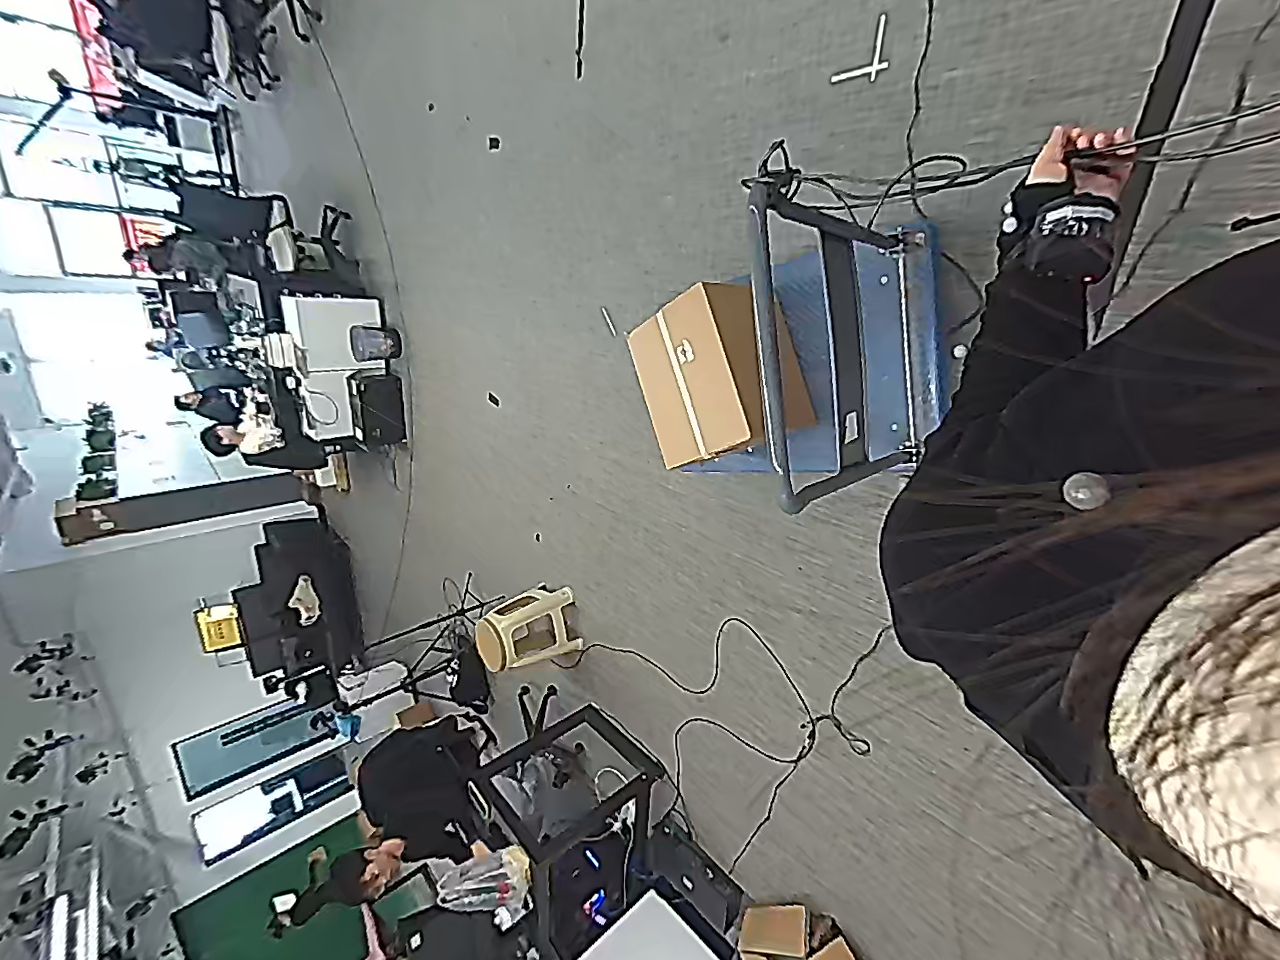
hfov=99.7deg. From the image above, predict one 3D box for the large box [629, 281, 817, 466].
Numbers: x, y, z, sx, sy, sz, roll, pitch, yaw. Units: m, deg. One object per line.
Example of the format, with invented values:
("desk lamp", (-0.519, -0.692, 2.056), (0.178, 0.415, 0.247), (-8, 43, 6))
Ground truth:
("large box", (0.229, -0.287, 1.504), (0.320, 0.320, 0.408), (-21, 85, 49))
